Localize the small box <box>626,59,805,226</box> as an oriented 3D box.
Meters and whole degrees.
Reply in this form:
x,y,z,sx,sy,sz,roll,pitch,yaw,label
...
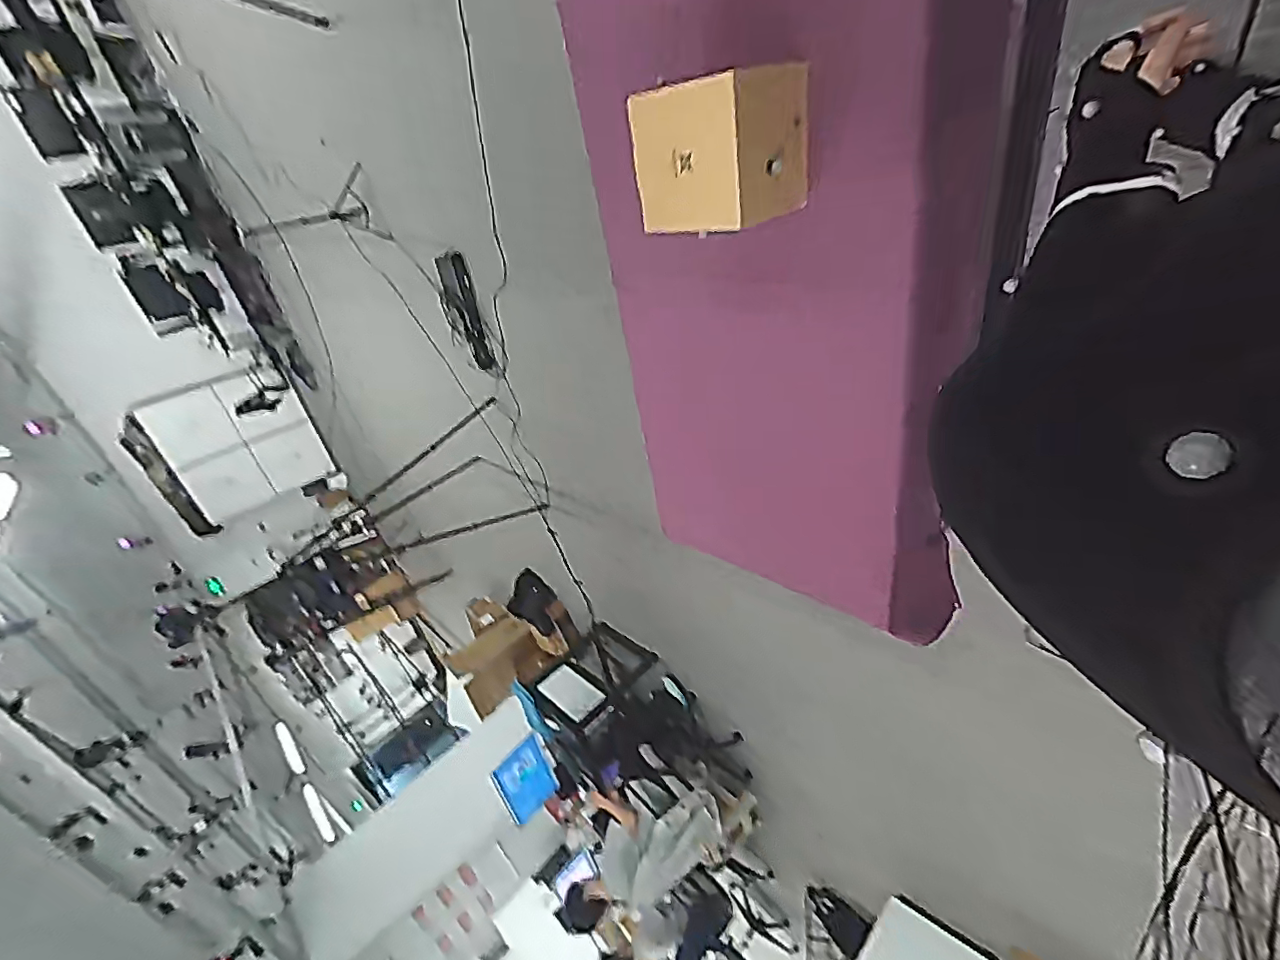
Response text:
x,y,z,sx,sy,sz,roll,pitch,yaw,label
0.110,-0.456,0.741,0.179,0.176,0.168,22,134,41,small box
